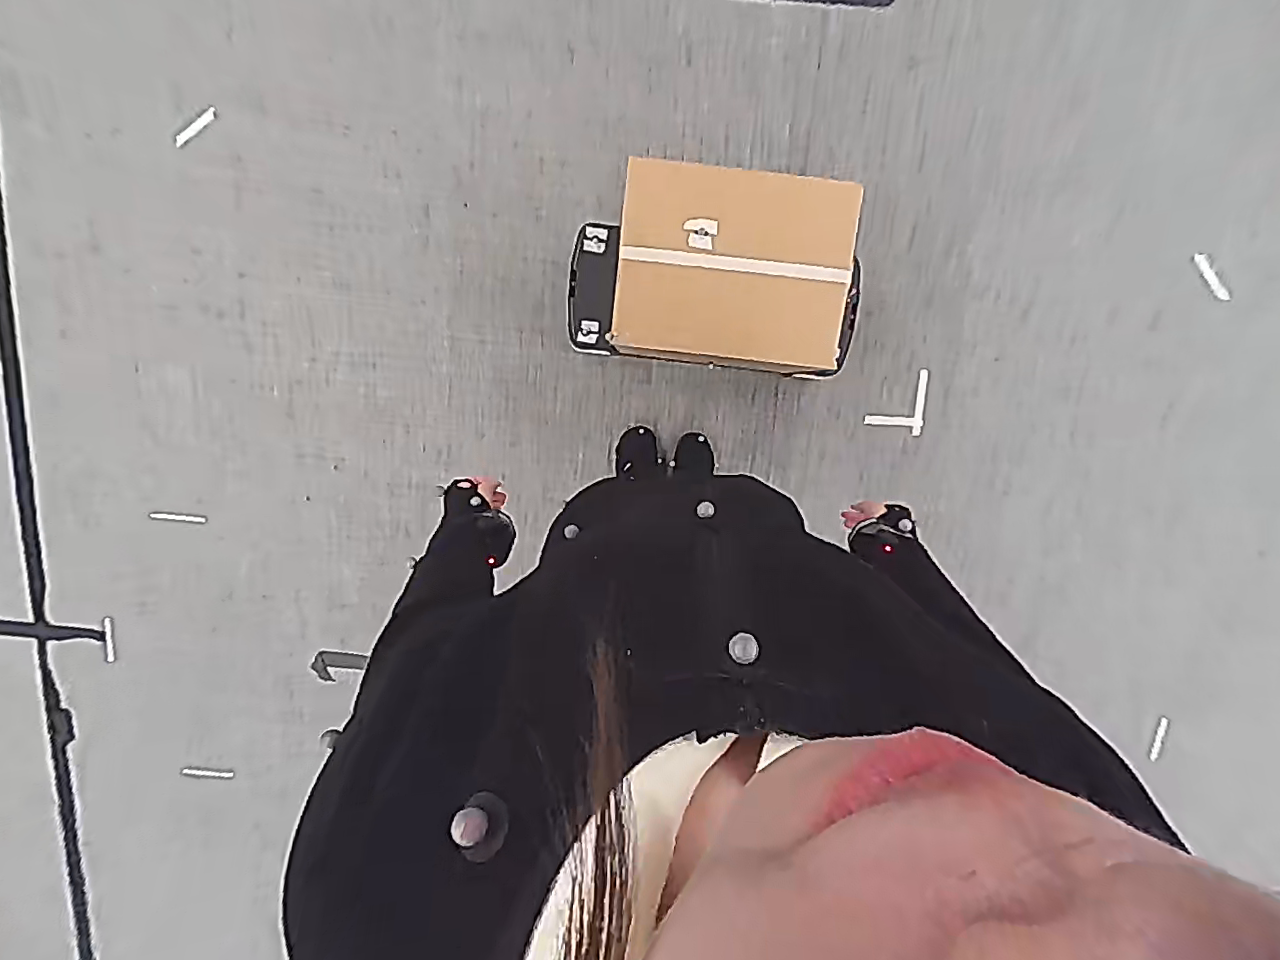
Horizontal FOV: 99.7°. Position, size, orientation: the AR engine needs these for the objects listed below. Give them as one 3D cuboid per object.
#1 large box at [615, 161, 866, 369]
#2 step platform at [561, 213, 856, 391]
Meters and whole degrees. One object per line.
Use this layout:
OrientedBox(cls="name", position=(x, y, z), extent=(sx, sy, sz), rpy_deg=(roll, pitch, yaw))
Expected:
OrientedBox(cls="large box", position=(0.172, -0.392, 1.073), extent=(0.408, 0.320, 0.320), rpy_deg=(6, 99, 0))
OrientedBox(cls="step platform", position=(0.155, -0.419, 1.311), extent=(0.684, 0.204, 0.286), rpy_deg=(12, 100, -1))
